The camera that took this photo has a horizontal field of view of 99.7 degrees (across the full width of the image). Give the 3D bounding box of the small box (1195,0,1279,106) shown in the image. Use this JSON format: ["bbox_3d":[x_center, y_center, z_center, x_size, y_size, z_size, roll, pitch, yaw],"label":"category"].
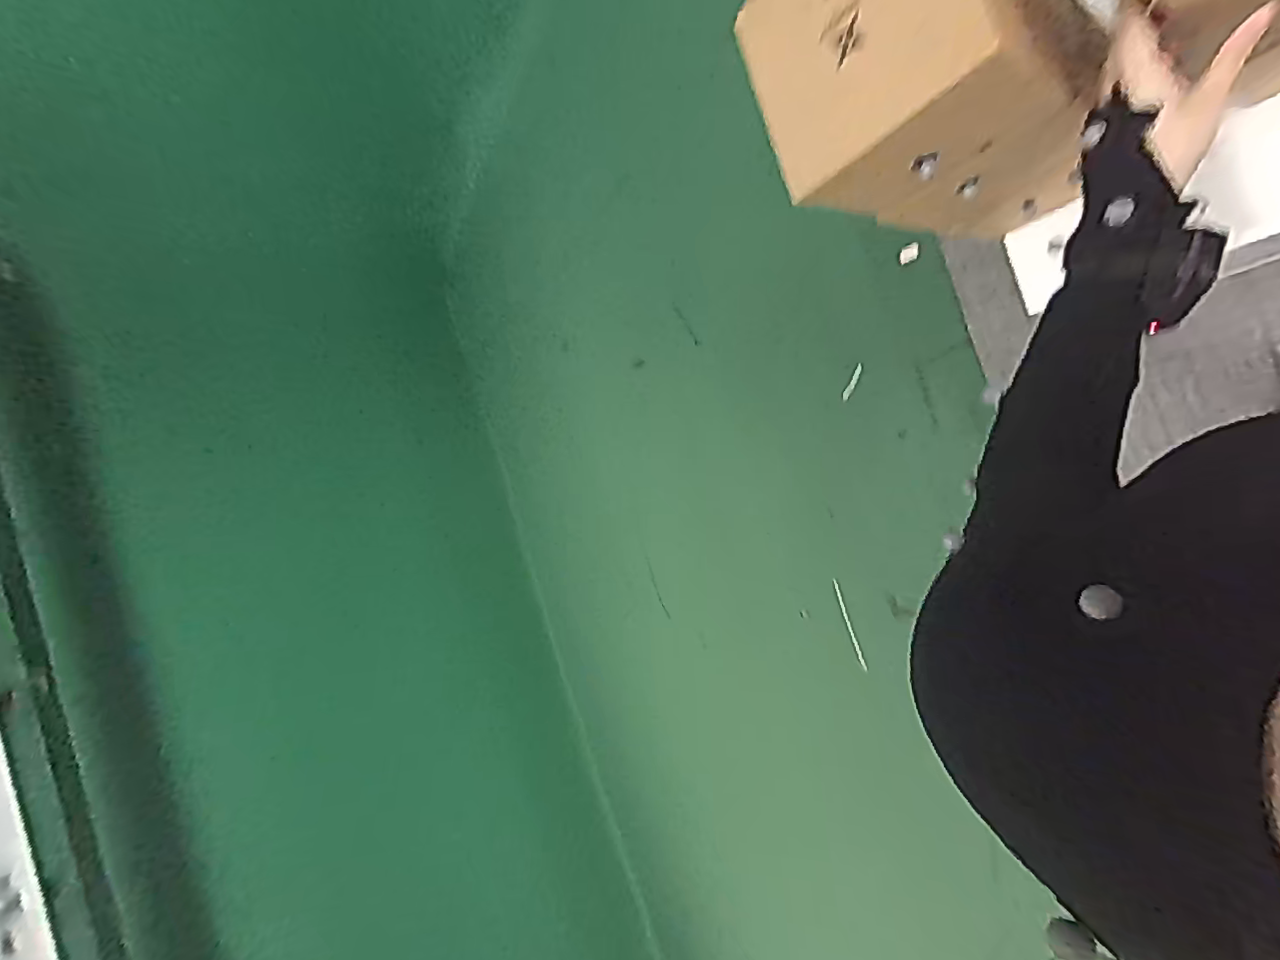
[{"bbox_3d":[0.613,-0.469,0.464,0.179,0.176,0.168,-21,85,56],"label":"small box"}]

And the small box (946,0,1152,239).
[{"bbox_3d":[0.477,-0.416,0.662,0.179,0.176,0.168,-19,88,52],"label":"small box"}]

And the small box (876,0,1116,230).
[{"bbox_3d":[0.347,-0.384,0.564,0.179,0.176,0.168,-20,87,52],"label":"small box"}]

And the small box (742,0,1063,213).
[{"bbox_3d":[0.223,-0.353,0.461,0.168,0.176,0.179,-20,87,51],"label":"small box"}]
